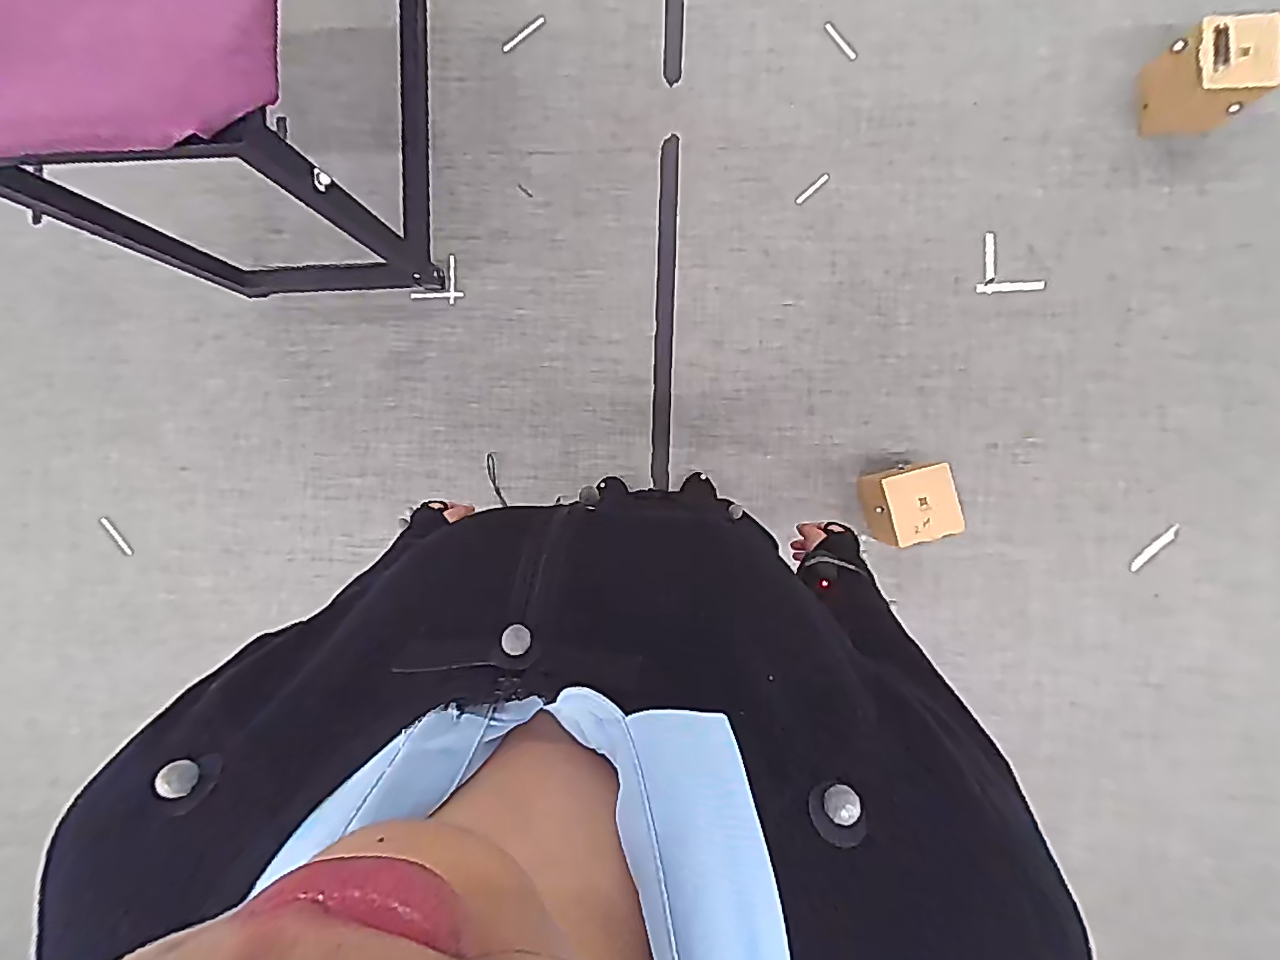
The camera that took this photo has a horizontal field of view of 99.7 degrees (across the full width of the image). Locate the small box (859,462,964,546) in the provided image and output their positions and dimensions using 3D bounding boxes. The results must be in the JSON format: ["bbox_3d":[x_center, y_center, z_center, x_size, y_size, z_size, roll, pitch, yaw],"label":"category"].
[{"bbox_3d":[0.684,0.058,1.382,0.168,0.176,0.179,-15,91,3],"label":"small box"}]
